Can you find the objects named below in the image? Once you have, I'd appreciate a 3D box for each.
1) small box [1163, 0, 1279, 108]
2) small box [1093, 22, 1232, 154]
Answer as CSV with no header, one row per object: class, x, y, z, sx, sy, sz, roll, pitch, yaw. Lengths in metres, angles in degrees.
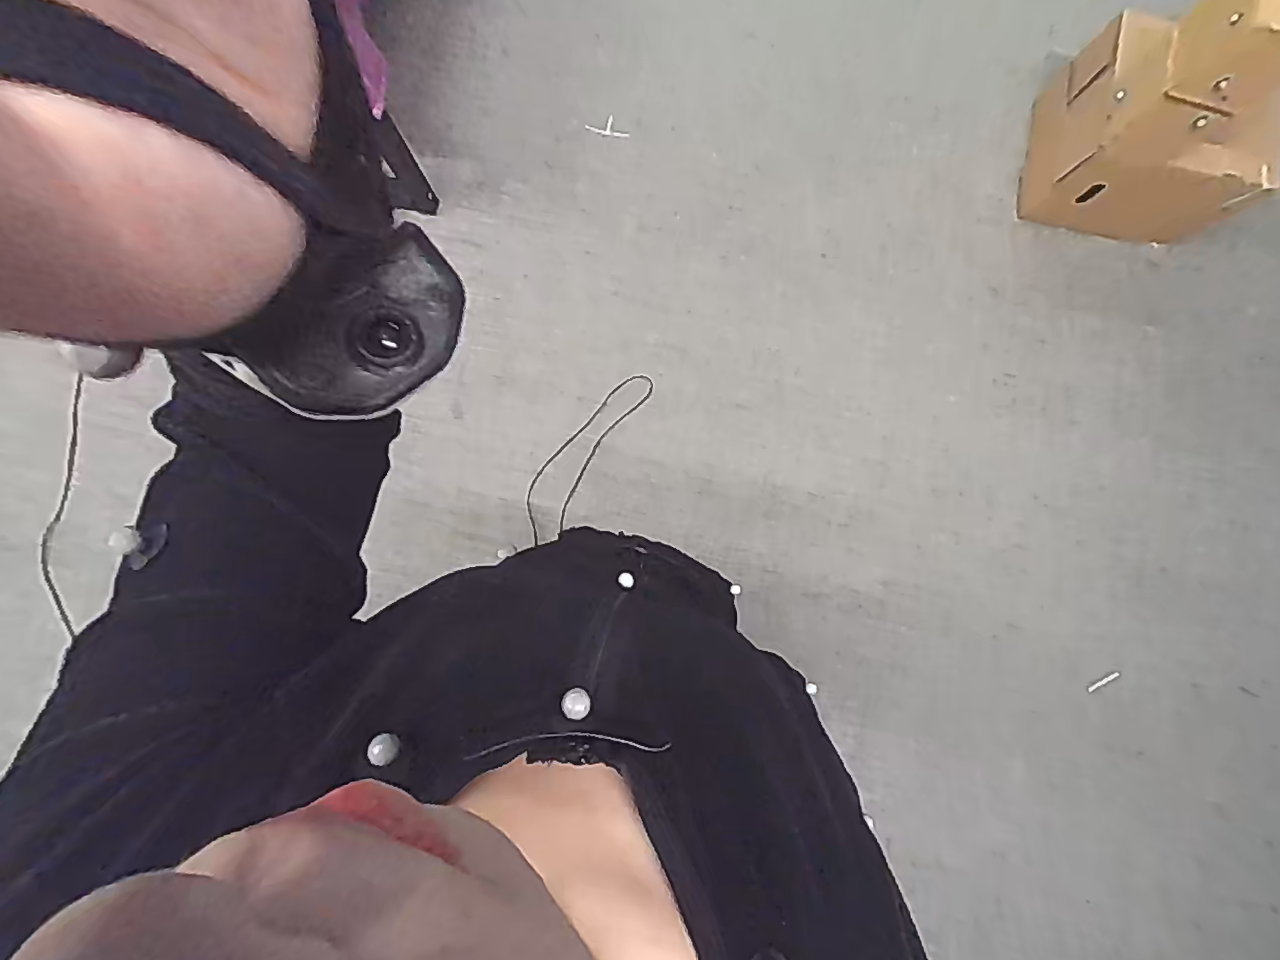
small box,1.233,-0.918,1.104,0.168,0.176,0.179,15,85,-1
small box,1.227,-0.905,1.267,0.179,0.176,0.168,14,84,0
